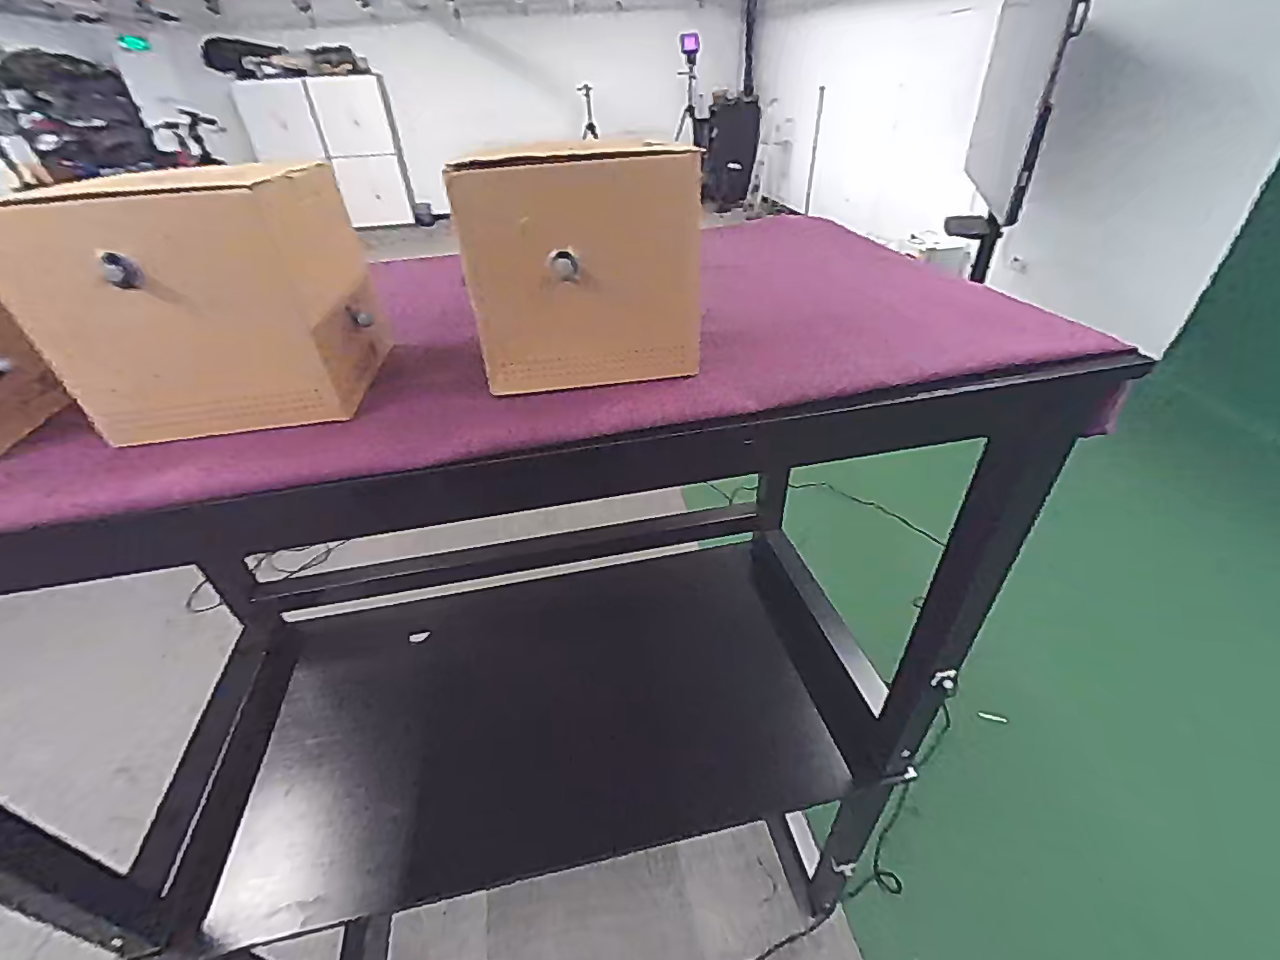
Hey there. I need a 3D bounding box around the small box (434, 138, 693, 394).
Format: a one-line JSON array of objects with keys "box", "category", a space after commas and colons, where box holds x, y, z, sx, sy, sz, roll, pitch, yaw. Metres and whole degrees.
[{"box": [-0.056, -0.188, 0.474, 0.179, 0.176, 0.168, -9, 37, -4], "category": "small box"}]

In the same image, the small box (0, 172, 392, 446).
[{"box": [-0.334, -0.141, 0.443, 0.179, 0.176, 0.168, -8, 36, -5], "category": "small box"}]
